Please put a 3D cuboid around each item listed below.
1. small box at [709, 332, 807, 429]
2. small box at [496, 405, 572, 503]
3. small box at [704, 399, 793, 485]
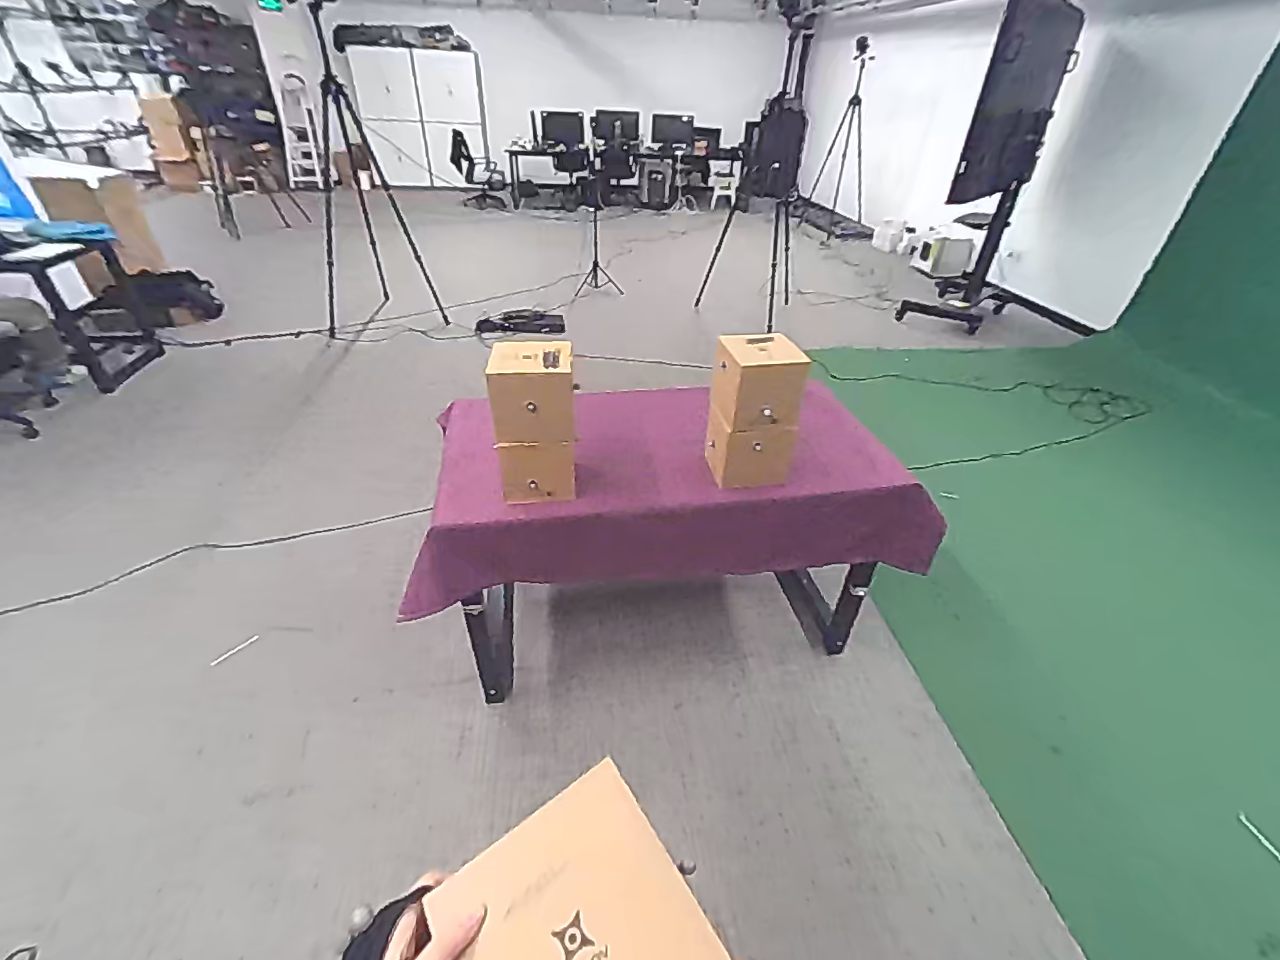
[{"bbox_3d":[0.268,-0.236,1.280,0.168,0.176,0.179,-6,37,-10],"label":"small box"},{"bbox_3d":[-0.250,-0.064,1.298,0.168,0.176,0.179,-4,37,-9],"label":"small box"},{"bbox_3d":[0.265,-0.099,1.371,0.179,0.176,0.168,-4,37,-8],"label":"small box"}]
